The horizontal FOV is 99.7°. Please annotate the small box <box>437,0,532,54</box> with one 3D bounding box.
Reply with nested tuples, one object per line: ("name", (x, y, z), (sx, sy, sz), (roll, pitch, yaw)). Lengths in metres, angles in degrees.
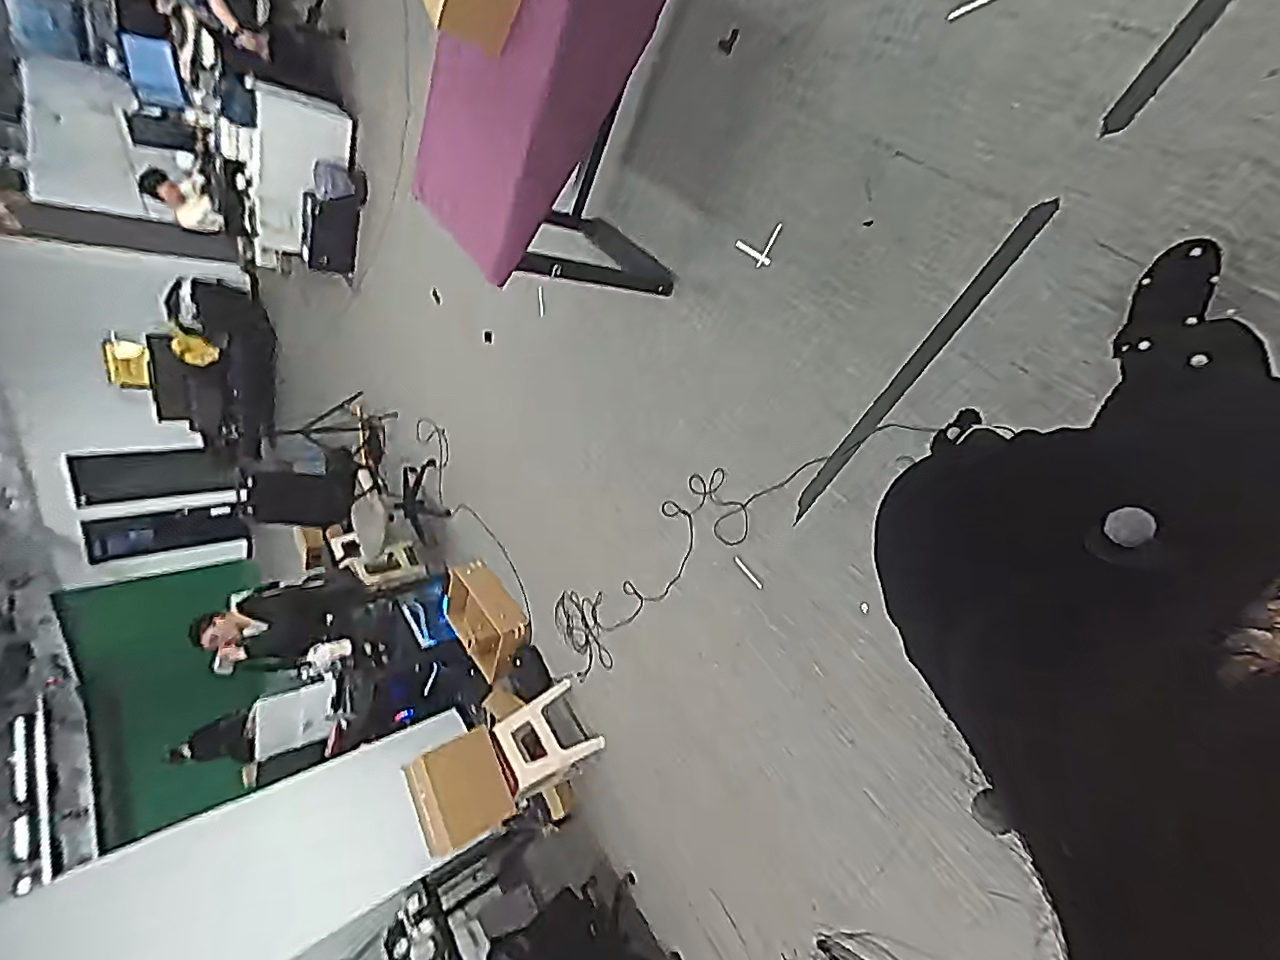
("small box", (-0.370, -1.177, 1.284), (0.179, 0.176, 0.168), (-41, 66, 44))
